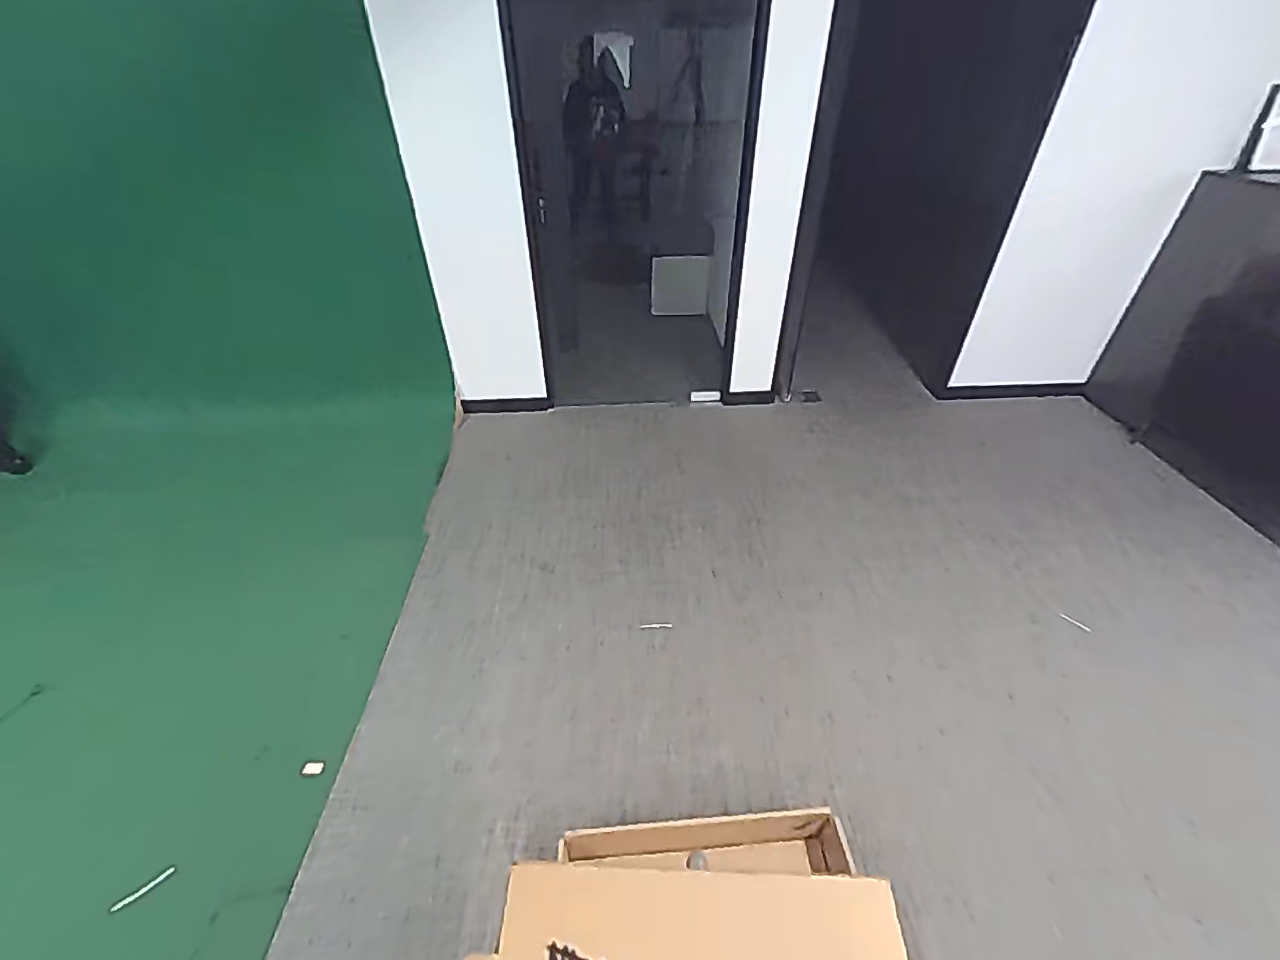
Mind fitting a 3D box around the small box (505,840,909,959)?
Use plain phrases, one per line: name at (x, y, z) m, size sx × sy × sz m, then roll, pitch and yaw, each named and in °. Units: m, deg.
small box at (0.026, 0.289, 0.261) m, size 0.179 × 0.176 × 0.168 m, roll 3°, pitch 48°, yaw -1°
